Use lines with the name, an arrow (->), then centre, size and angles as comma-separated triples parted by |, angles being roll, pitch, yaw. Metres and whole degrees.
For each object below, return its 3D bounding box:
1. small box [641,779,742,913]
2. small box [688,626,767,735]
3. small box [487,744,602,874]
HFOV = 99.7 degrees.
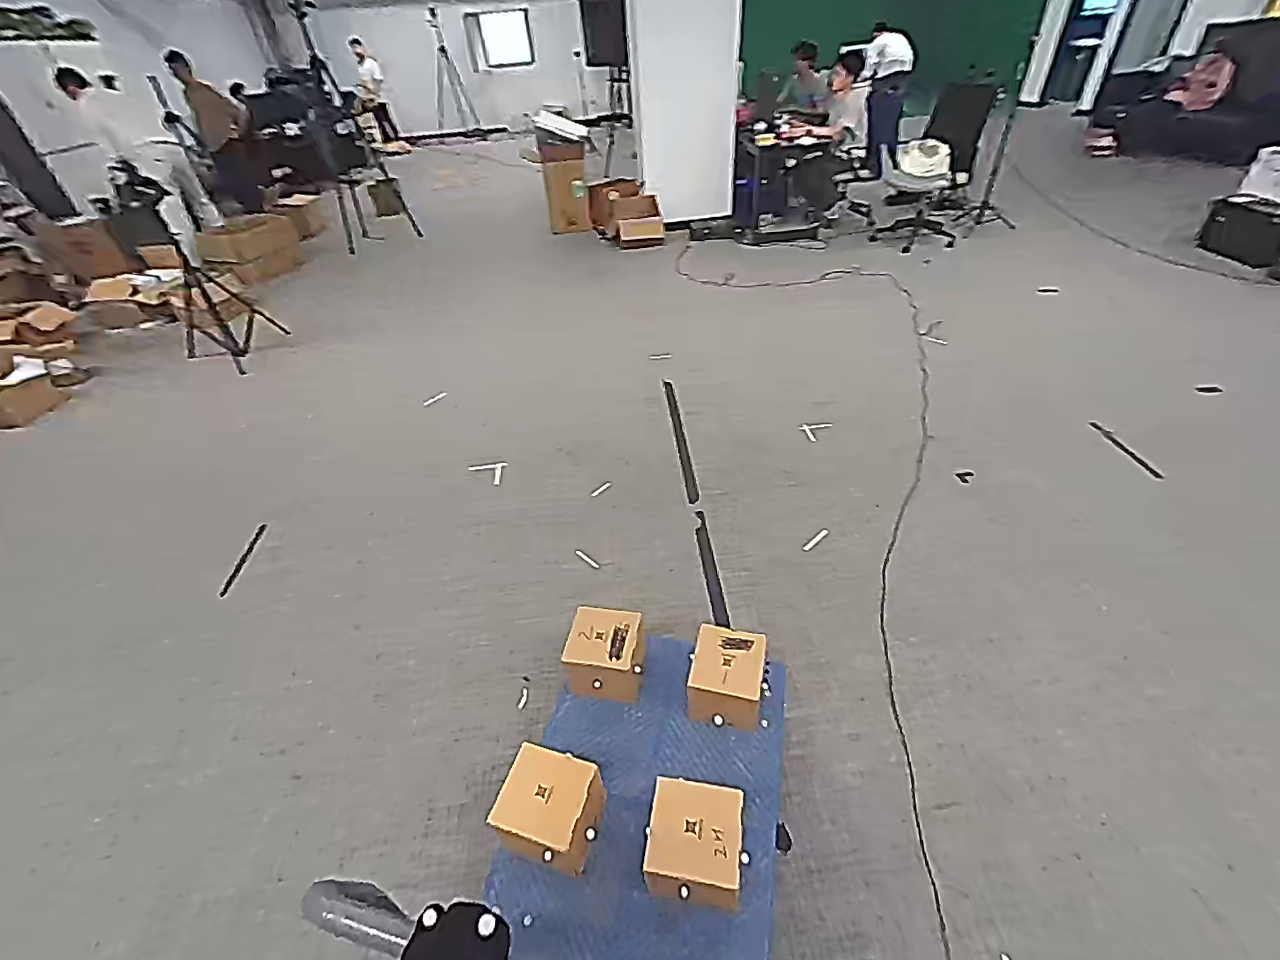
small box -> 0.108, 0.726, 1.073 | 0.179, 0.176, 0.168 | 4, 41, 12
small box -> 0.215, 0.494, 1.337 | 0.168, 0.176, 0.179 | 7, 43, 15
small box -> -0.192, 0.697, 1.144 | 0.179, 0.176, 0.168 | 9, 42, 15
